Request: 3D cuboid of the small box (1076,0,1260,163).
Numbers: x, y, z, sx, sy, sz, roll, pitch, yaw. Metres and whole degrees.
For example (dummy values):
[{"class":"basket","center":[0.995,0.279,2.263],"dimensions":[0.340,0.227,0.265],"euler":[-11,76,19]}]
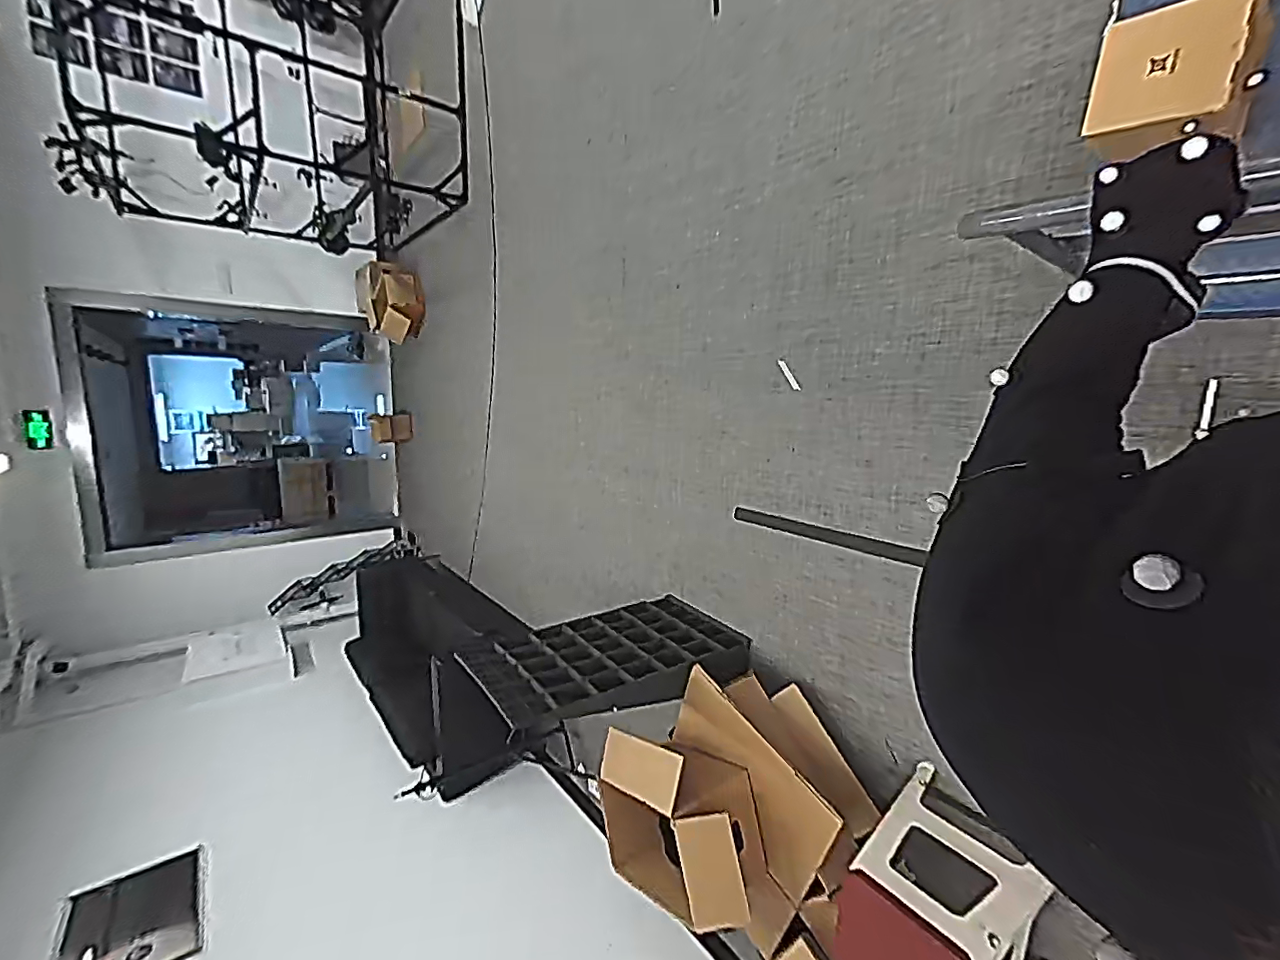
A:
[{"class":"small box","center":[0.866,-0.648,0.890],"dimensions":[0.179,0.176,0.168],"euler":[19,109,48]}]
